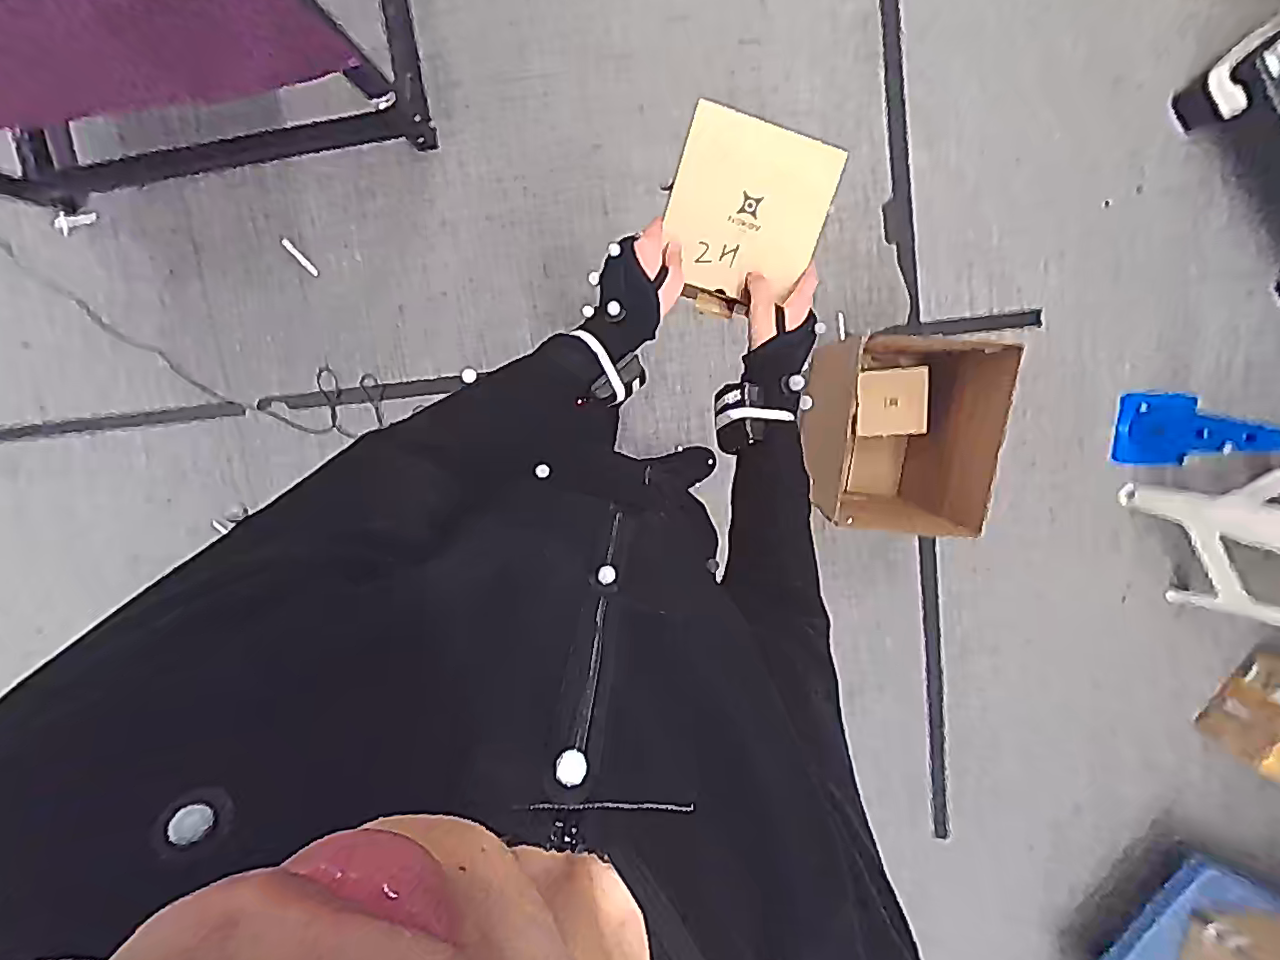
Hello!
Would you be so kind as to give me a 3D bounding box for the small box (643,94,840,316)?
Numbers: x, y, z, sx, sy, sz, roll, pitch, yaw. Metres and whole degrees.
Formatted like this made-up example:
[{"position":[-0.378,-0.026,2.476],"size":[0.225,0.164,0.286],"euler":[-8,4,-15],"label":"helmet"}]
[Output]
[{"position":[0.102,-0.304,0.641],"size":[0.168,0.176,0.179],"euler":[15,106,-5],"label":"small box"}]
